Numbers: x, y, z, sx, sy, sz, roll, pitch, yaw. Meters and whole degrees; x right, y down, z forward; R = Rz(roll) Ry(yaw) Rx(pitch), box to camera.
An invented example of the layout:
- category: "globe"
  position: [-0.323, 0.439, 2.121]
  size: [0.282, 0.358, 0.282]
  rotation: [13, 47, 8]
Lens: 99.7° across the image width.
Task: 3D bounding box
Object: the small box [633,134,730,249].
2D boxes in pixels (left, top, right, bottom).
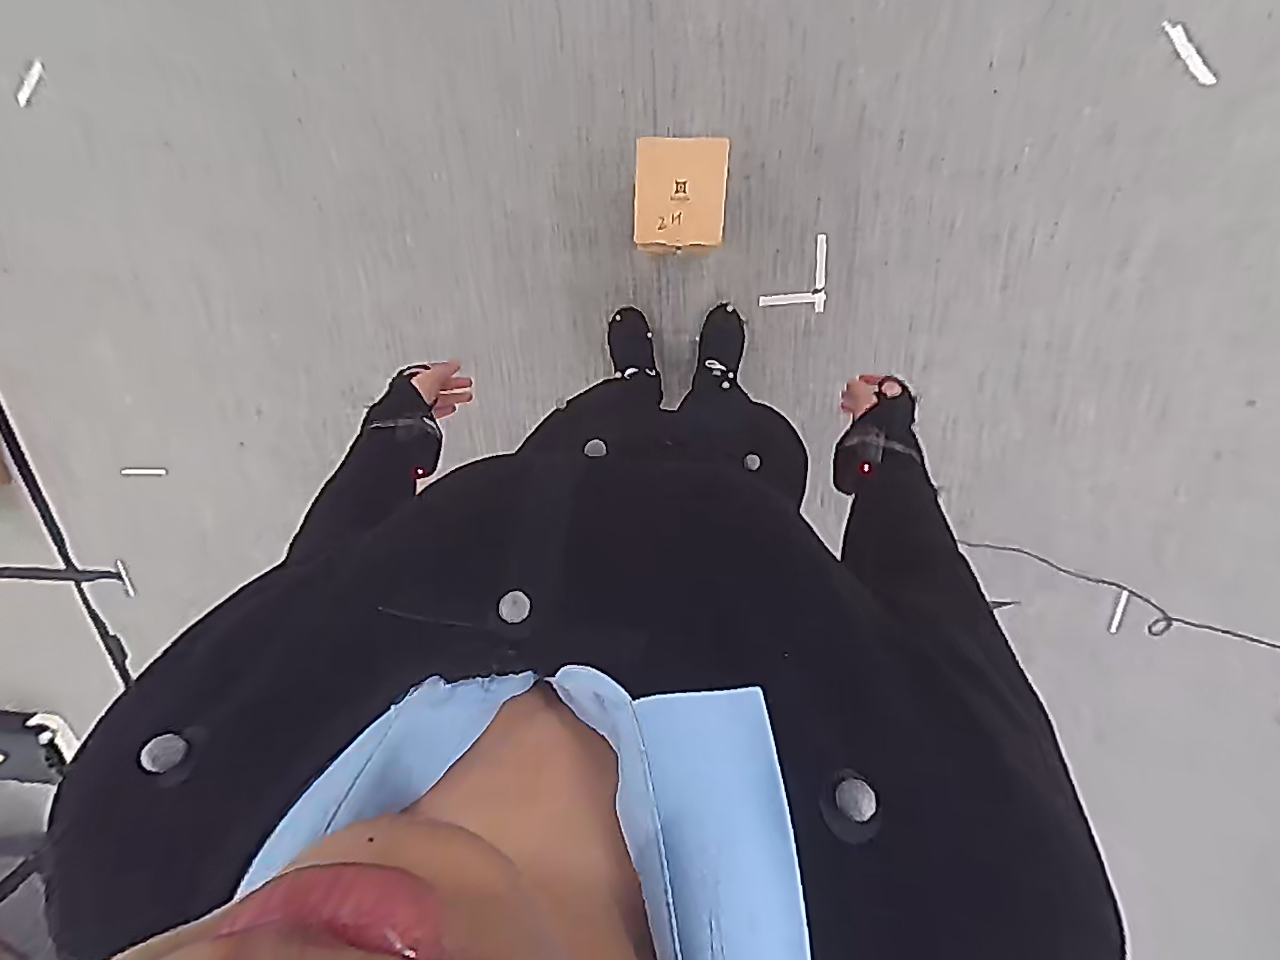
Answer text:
- category: "small box"
  position: [0.079, -0.548, 1.046]
  size: [0.168, 0.176, 0.179]
  rotation: [4, 112, 5]
